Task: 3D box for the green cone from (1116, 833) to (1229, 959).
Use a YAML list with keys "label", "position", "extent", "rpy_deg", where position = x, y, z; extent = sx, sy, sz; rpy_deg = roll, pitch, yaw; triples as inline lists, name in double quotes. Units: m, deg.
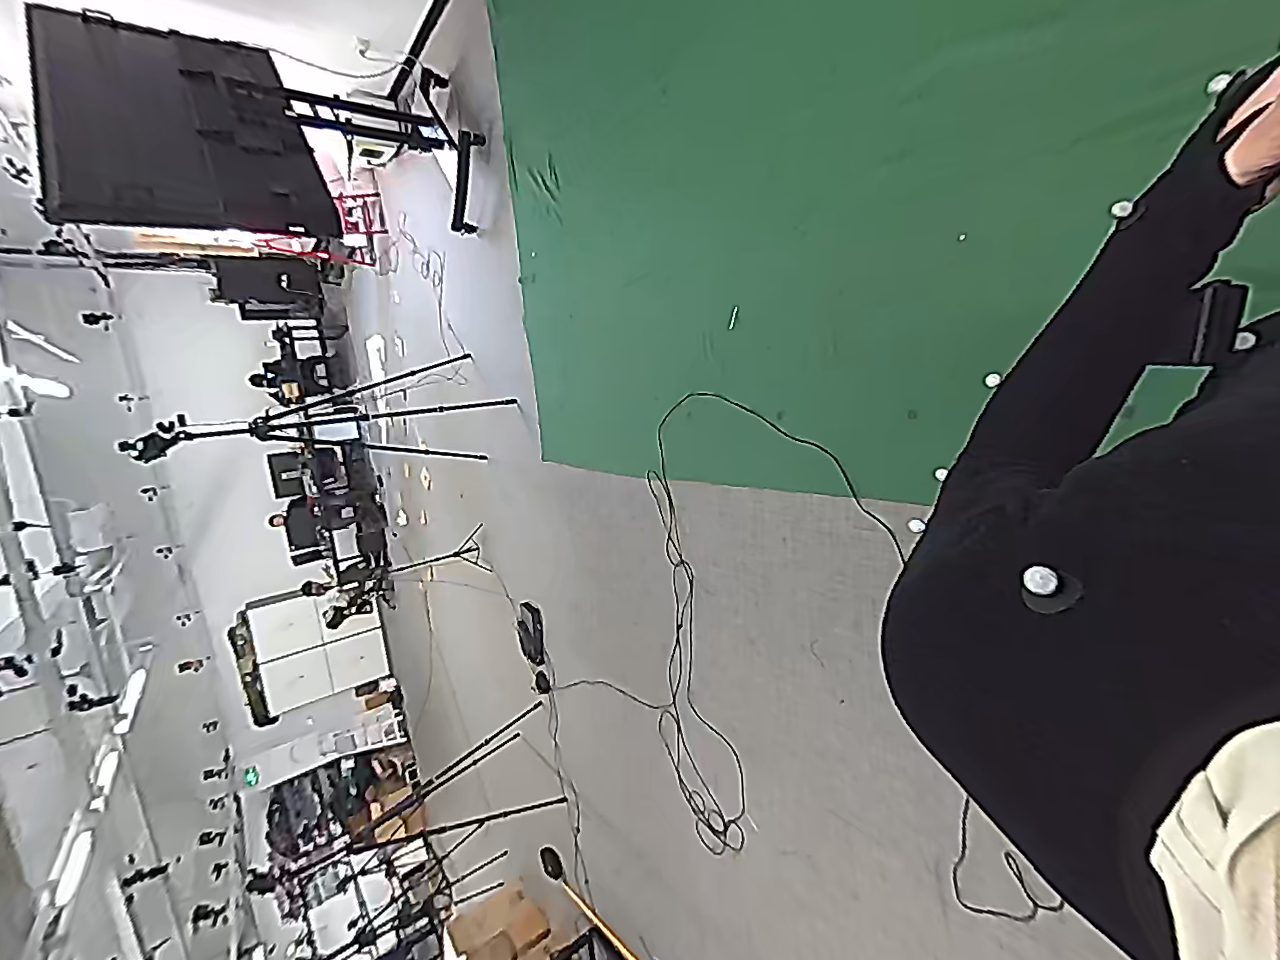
- label: "green cone"
  position: [1.208, 1.059, 1.270]
  extent: [0.202, 0.368, 0.200]
  rpy_deg: [9, 108, 52]
